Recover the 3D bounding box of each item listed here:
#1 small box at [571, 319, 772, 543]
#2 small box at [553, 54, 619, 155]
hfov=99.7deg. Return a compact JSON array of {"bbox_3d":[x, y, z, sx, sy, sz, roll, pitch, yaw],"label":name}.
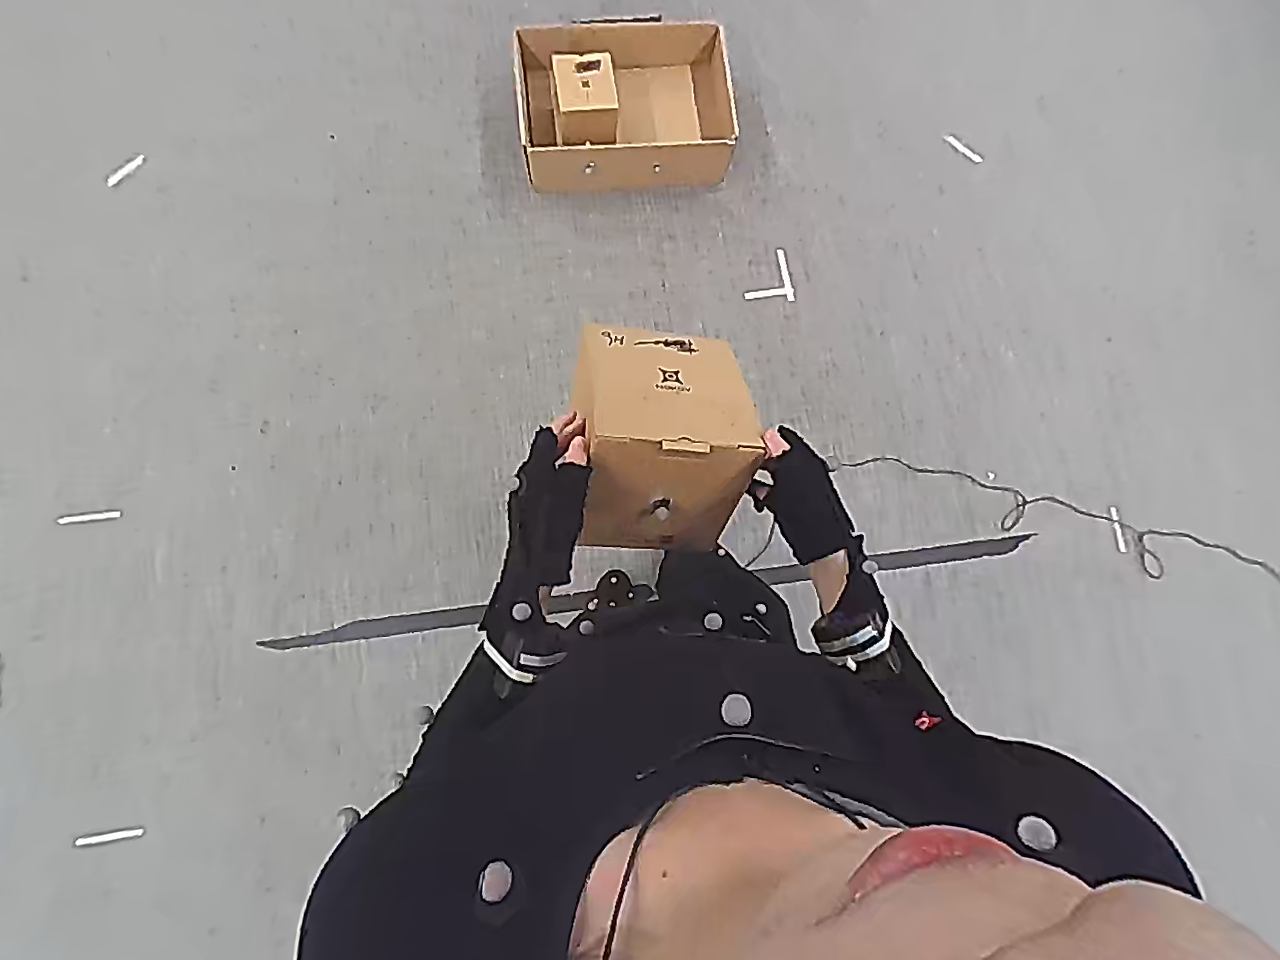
[{"bbox_3d":[0.018,-0.047,0.588,0.168,0.176,0.179,4,49,-14],"label":"small box"},{"bbox_3d":[-0.159,-1.089,1.575,0.168,0.176,0.179,-8,82,-7],"label":"small box"}]
